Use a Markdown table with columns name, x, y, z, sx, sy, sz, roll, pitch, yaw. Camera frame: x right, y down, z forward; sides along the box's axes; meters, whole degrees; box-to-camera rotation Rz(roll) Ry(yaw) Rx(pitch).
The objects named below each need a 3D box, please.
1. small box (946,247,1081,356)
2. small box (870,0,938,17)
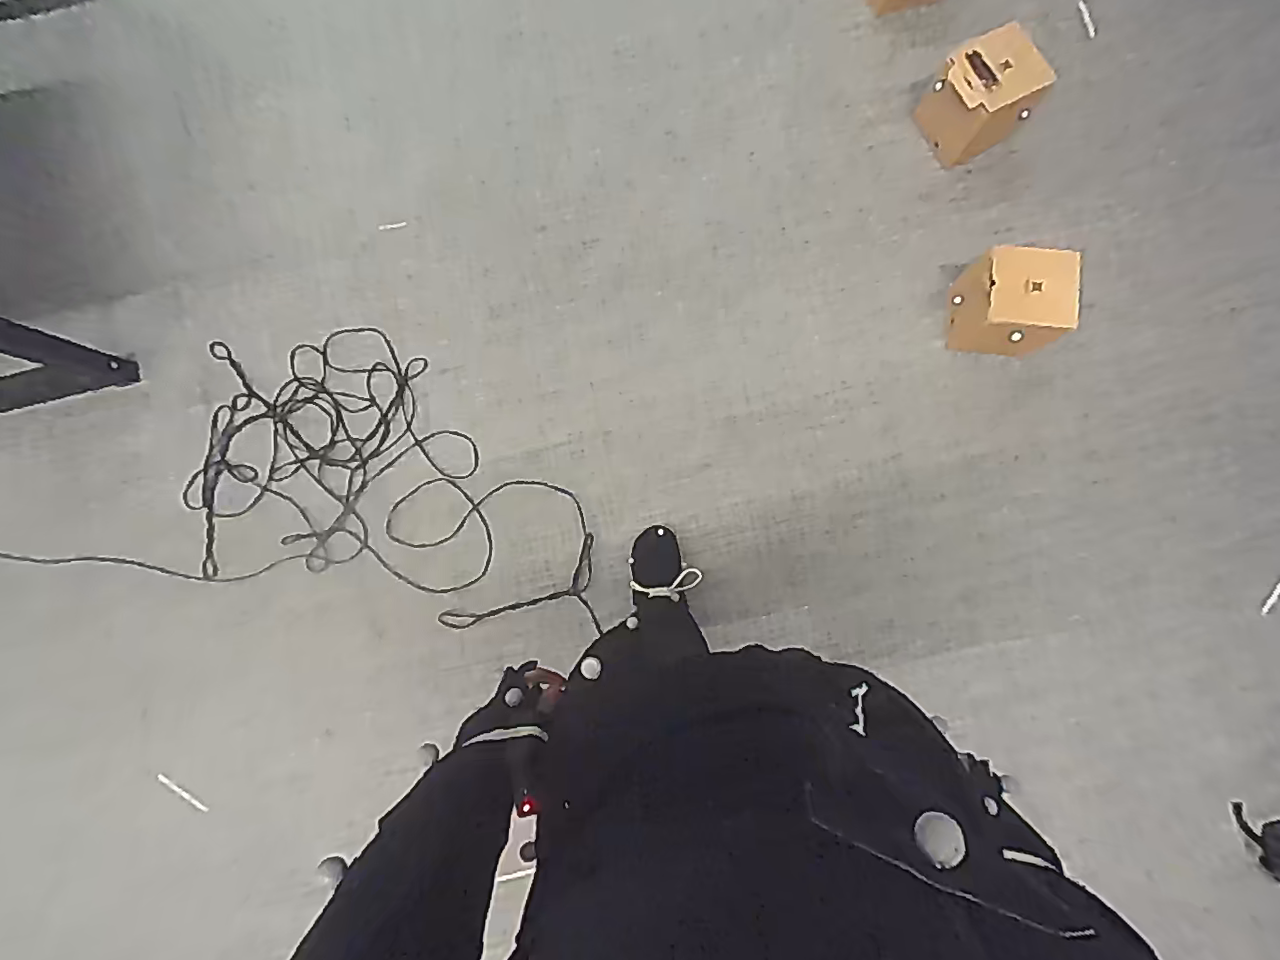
| name | x | y | z | sx | sy | sz | roll | pitch | yaw |
| --- | --- | --- | --- | --- | --- | --- | --- | --- | --- |
| small box | 0.799 | -0.376 | 1.168 | 0.179 | 0.176 | 0.168 | 6 | 84 | 3 |
| small box | 0.646 | -1.253 | 1.279 | 0.179 | 0.176 | 0.168 | -16 | 84 | 0 |
